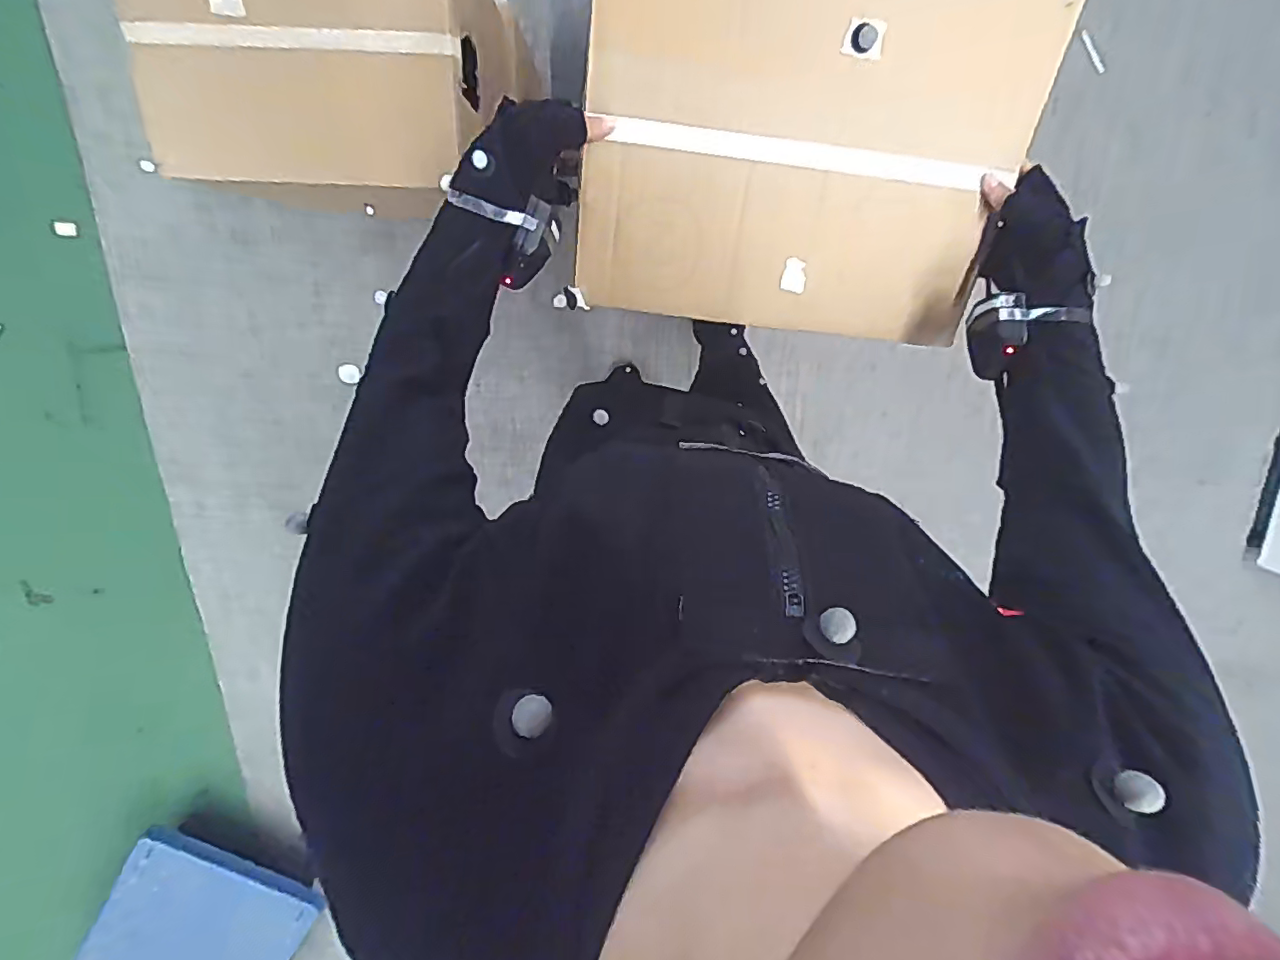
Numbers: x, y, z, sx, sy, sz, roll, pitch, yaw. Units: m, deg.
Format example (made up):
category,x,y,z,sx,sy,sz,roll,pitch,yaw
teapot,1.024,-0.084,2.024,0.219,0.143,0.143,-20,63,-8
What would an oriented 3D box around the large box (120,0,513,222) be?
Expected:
category,x,y,z,sx,sy,sz,roll,pitch,yaw
large box,-0.429,-0.576,0.811,0.408,0.320,0.320,3,108,0
